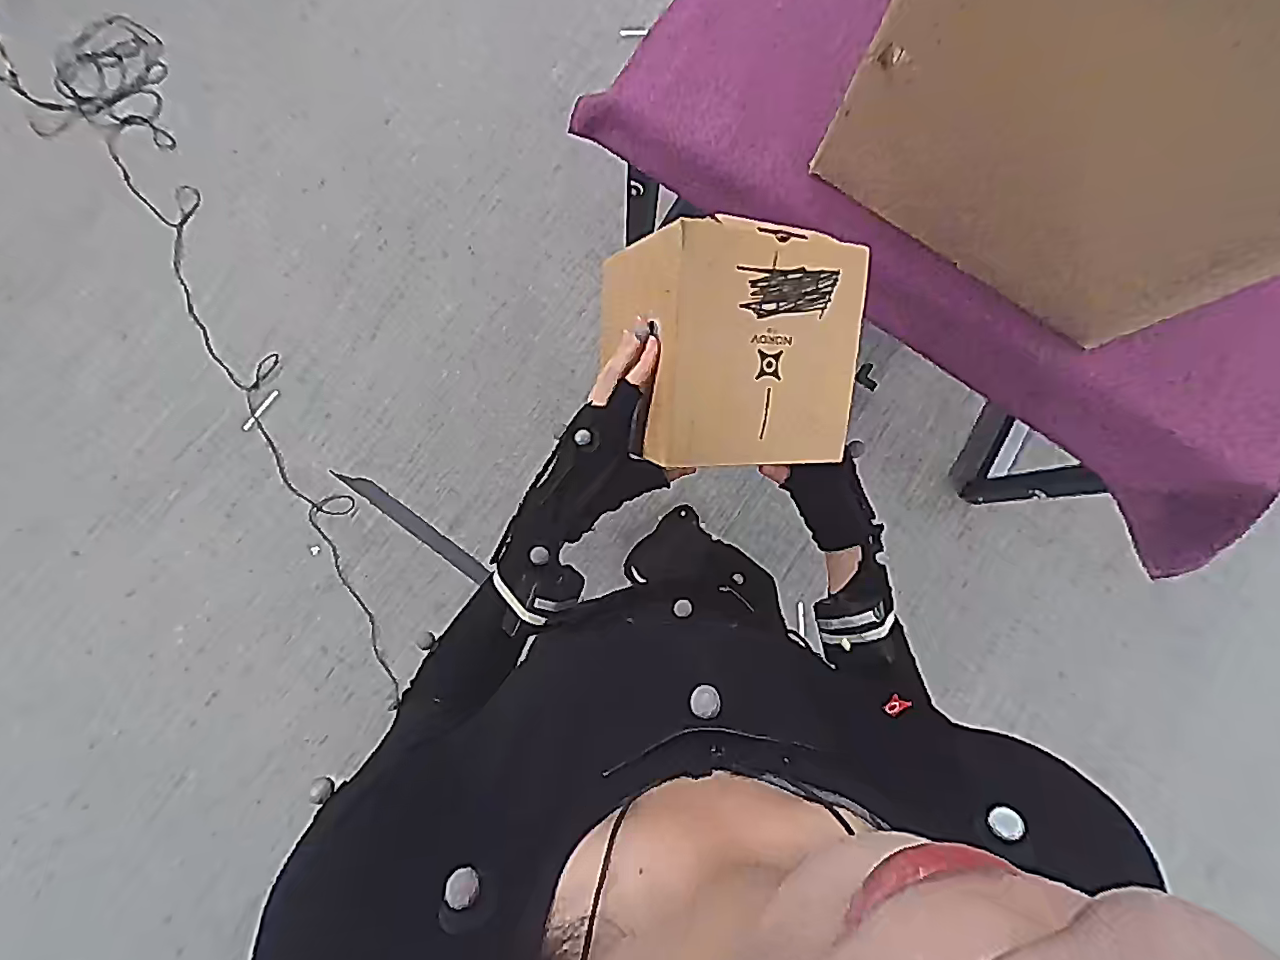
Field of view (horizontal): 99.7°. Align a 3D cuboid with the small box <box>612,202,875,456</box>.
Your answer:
[{"bbox_3d":[0.078,-0.117,0.479,0.168,0.176,0.179,-3,100,-22],"label":"small box"}]
